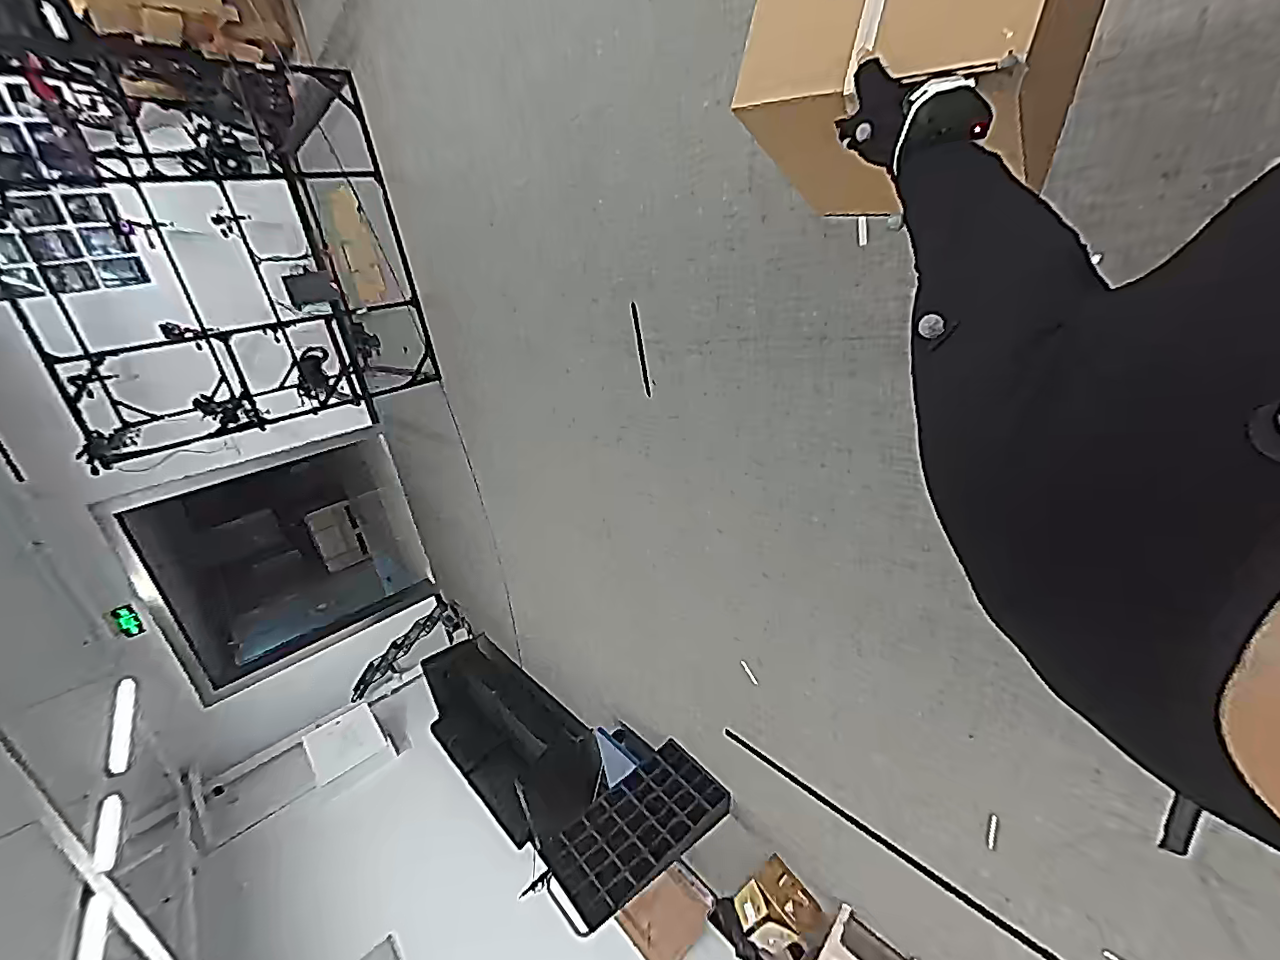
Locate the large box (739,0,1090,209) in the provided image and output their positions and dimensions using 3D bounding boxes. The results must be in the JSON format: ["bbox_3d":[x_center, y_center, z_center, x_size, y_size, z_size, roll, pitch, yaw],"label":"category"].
[{"bbox_3d":[0.371,-0.614,0.683,0.320,0.320,0.408,19,101,38],"label":"large box"}]
